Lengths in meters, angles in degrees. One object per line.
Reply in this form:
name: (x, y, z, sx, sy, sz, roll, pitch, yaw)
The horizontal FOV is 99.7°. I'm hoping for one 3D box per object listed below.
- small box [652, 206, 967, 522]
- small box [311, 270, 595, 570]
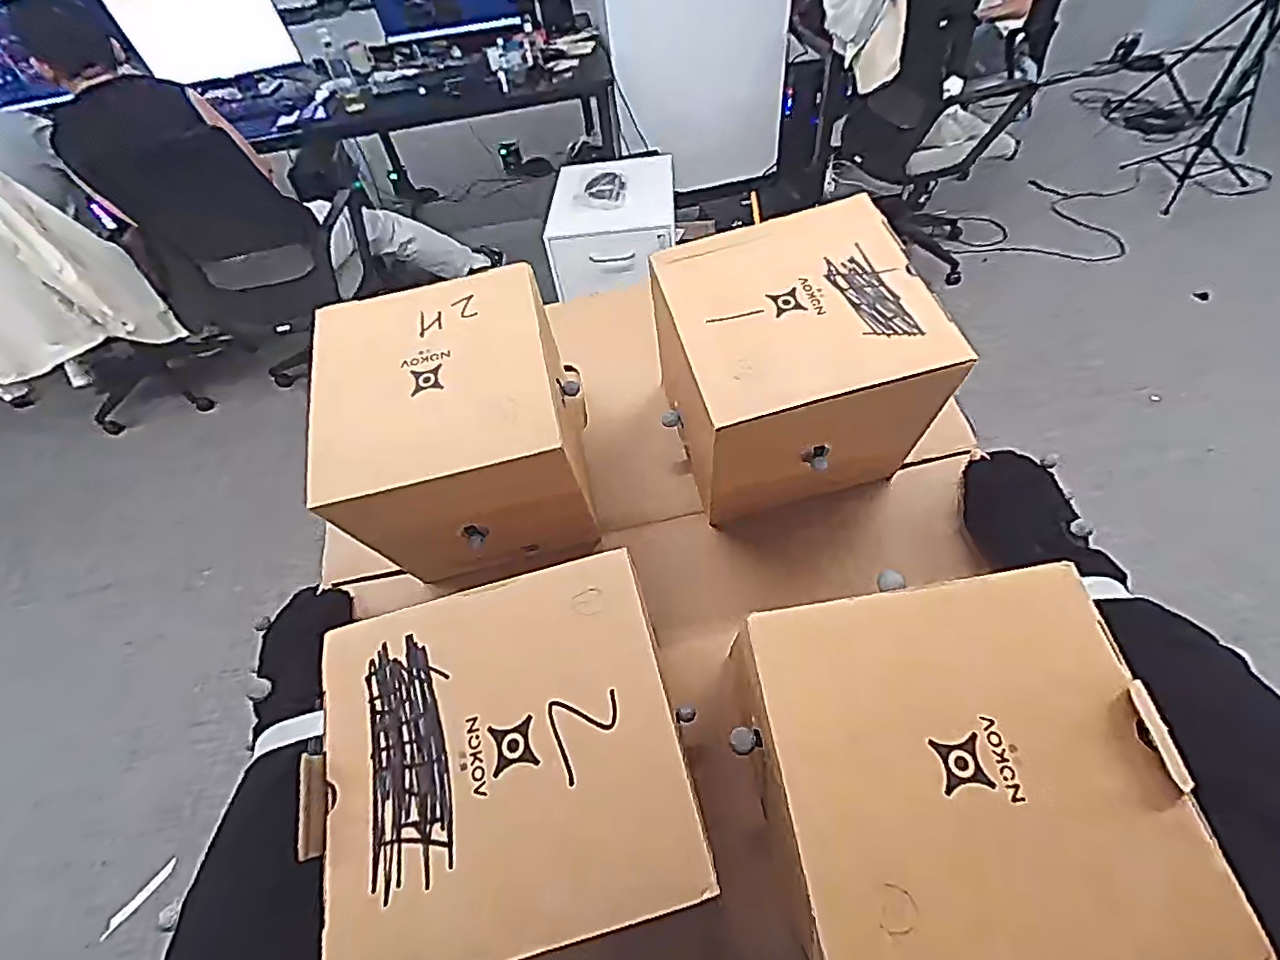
small box: (0.116, -0.083, 0.447, 0.179, 0.176, 0.168, -15, 64, 0)
small box: (-0.139, -0.035, 0.452, 0.168, 0.176, 0.179, -13, 63, -1)
